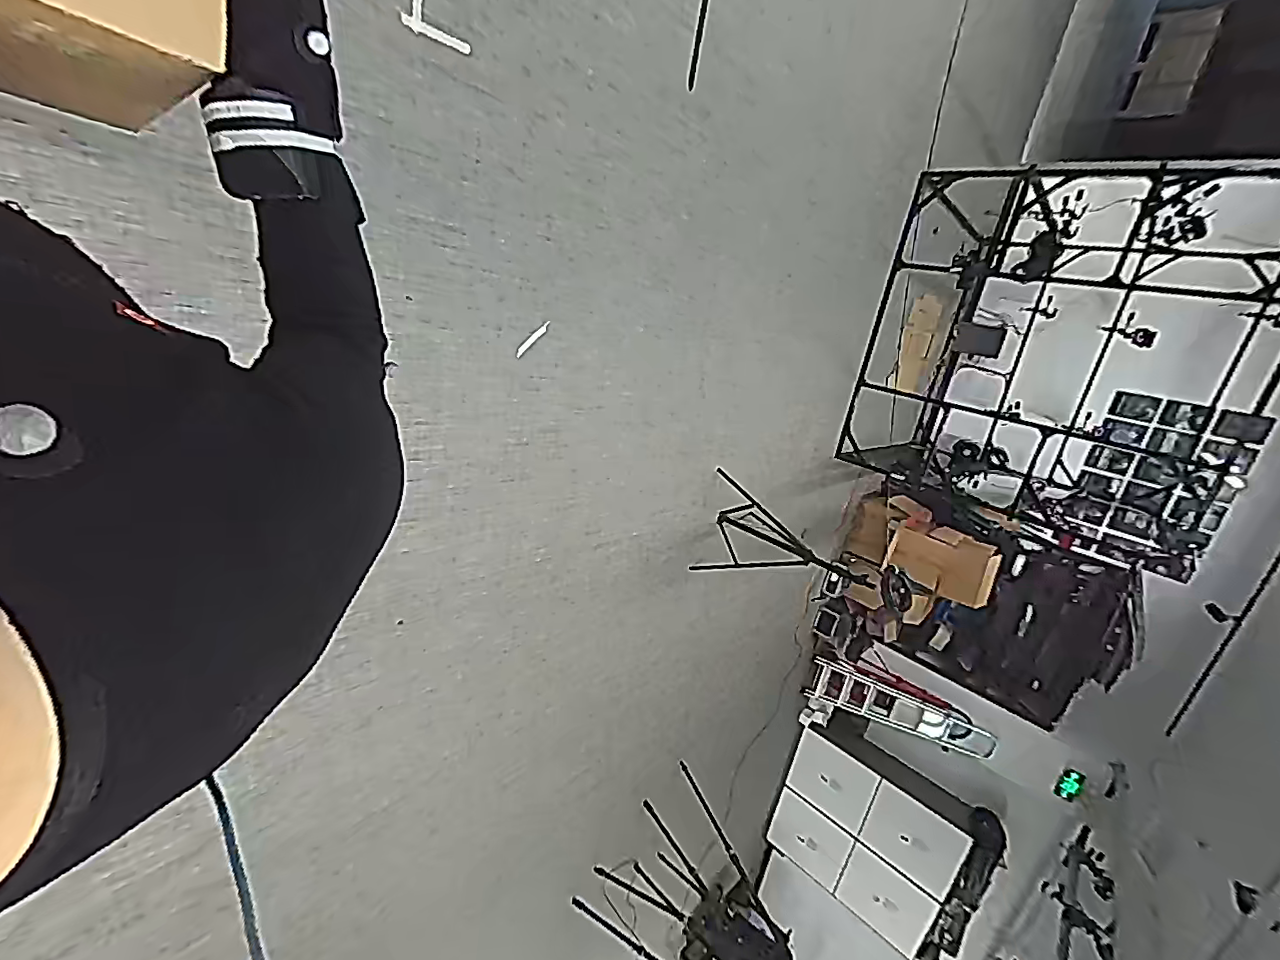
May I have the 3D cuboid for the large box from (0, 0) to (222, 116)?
[{"bbox_3d":[-0.489,-0.441,0.252,0.408,0.320,0.320,-7,111,-50],"label":"large box"}]
